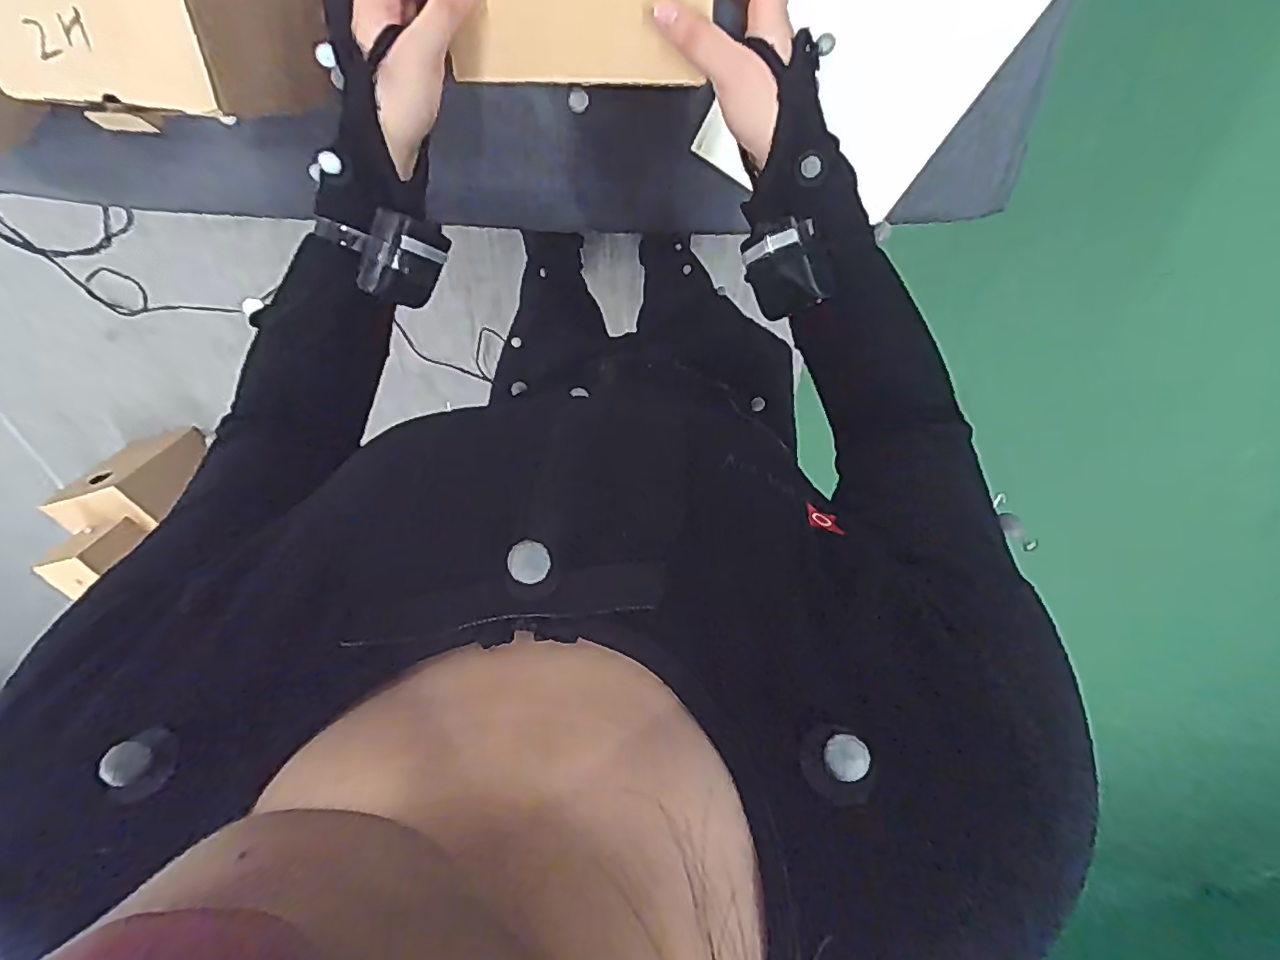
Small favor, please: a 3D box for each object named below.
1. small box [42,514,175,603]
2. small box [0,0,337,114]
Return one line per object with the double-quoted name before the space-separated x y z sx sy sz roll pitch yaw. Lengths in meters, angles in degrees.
"small box" -1.510 0.225 1.552 0.168 0.176 0.179 -12 125 13
"small box" -0.368 -0.390 0.407 0.168 0.176 0.179 6 127 2
